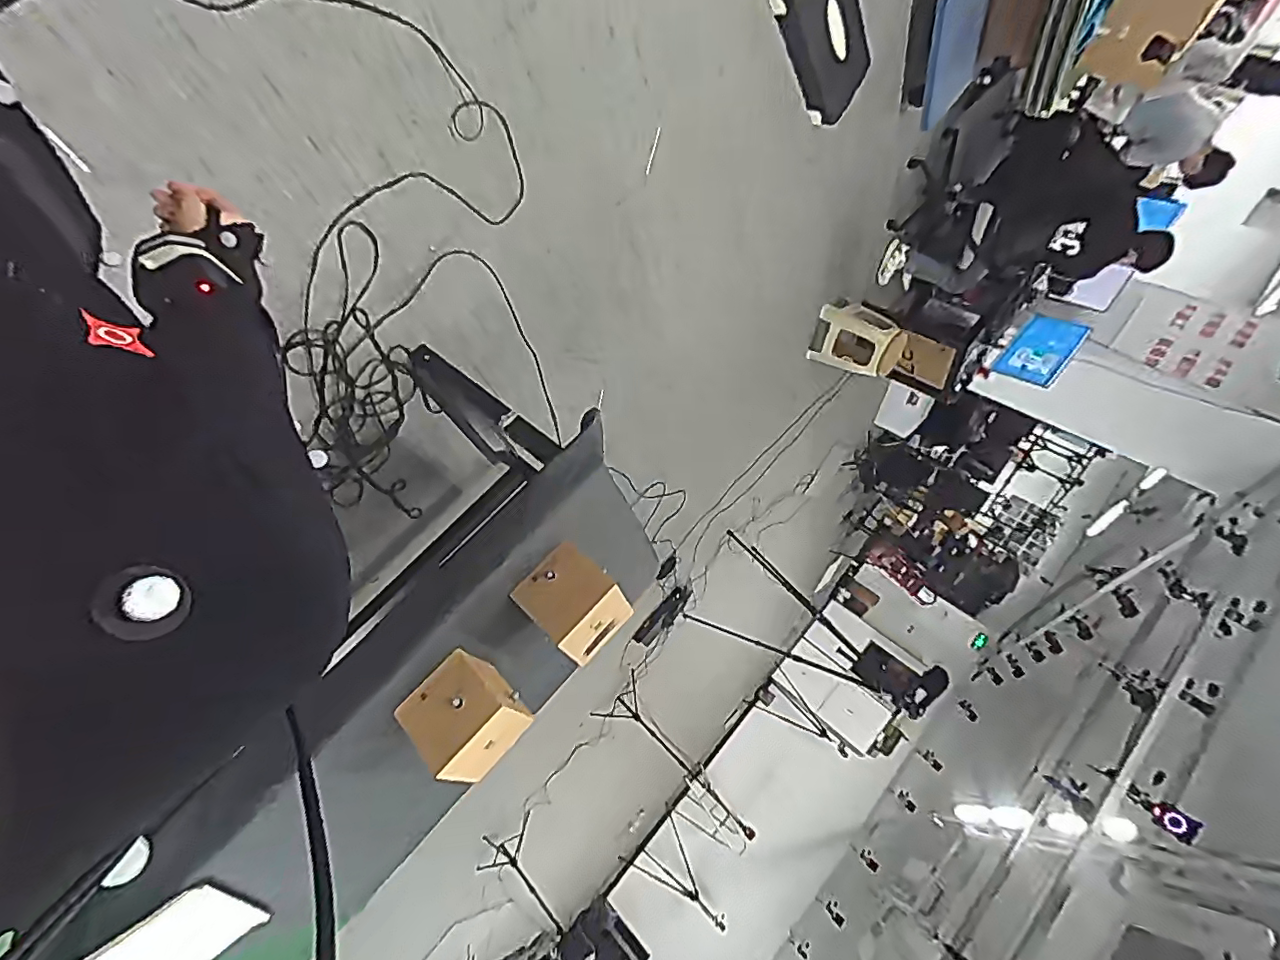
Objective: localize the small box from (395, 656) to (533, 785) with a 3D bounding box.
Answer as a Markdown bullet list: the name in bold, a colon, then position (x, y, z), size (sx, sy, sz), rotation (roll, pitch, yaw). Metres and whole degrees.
- **small box**: position (-0.356, 0.485, 1.099), size (0.168, 0.176, 0.179), rotation (-46, 151, -15)
